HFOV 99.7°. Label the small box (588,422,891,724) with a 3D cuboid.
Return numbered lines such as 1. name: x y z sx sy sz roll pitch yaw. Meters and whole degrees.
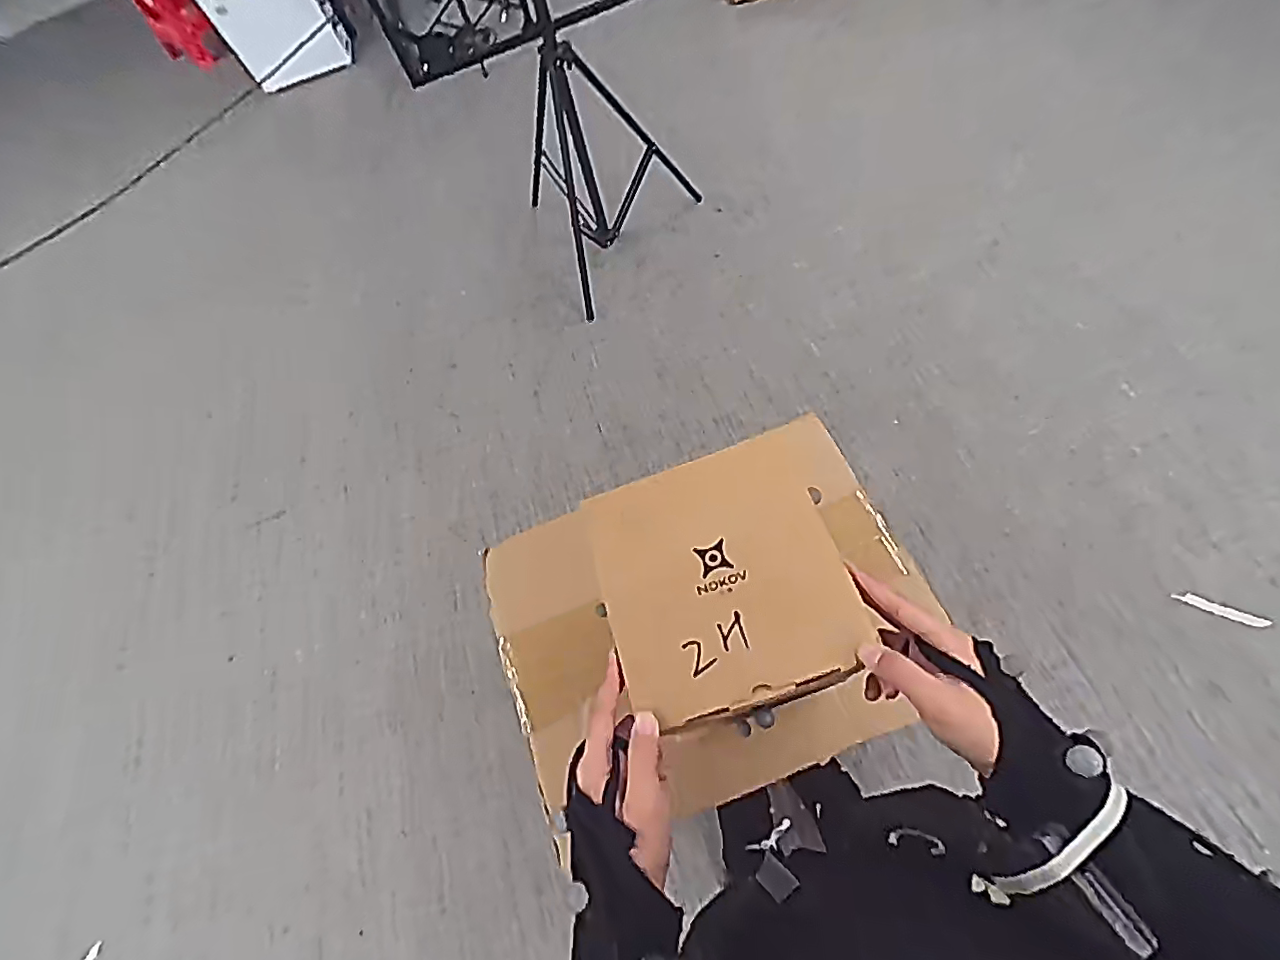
1. small box: 0.071 0.087 0.445 0.168 0.176 0.179 -19 63 3
